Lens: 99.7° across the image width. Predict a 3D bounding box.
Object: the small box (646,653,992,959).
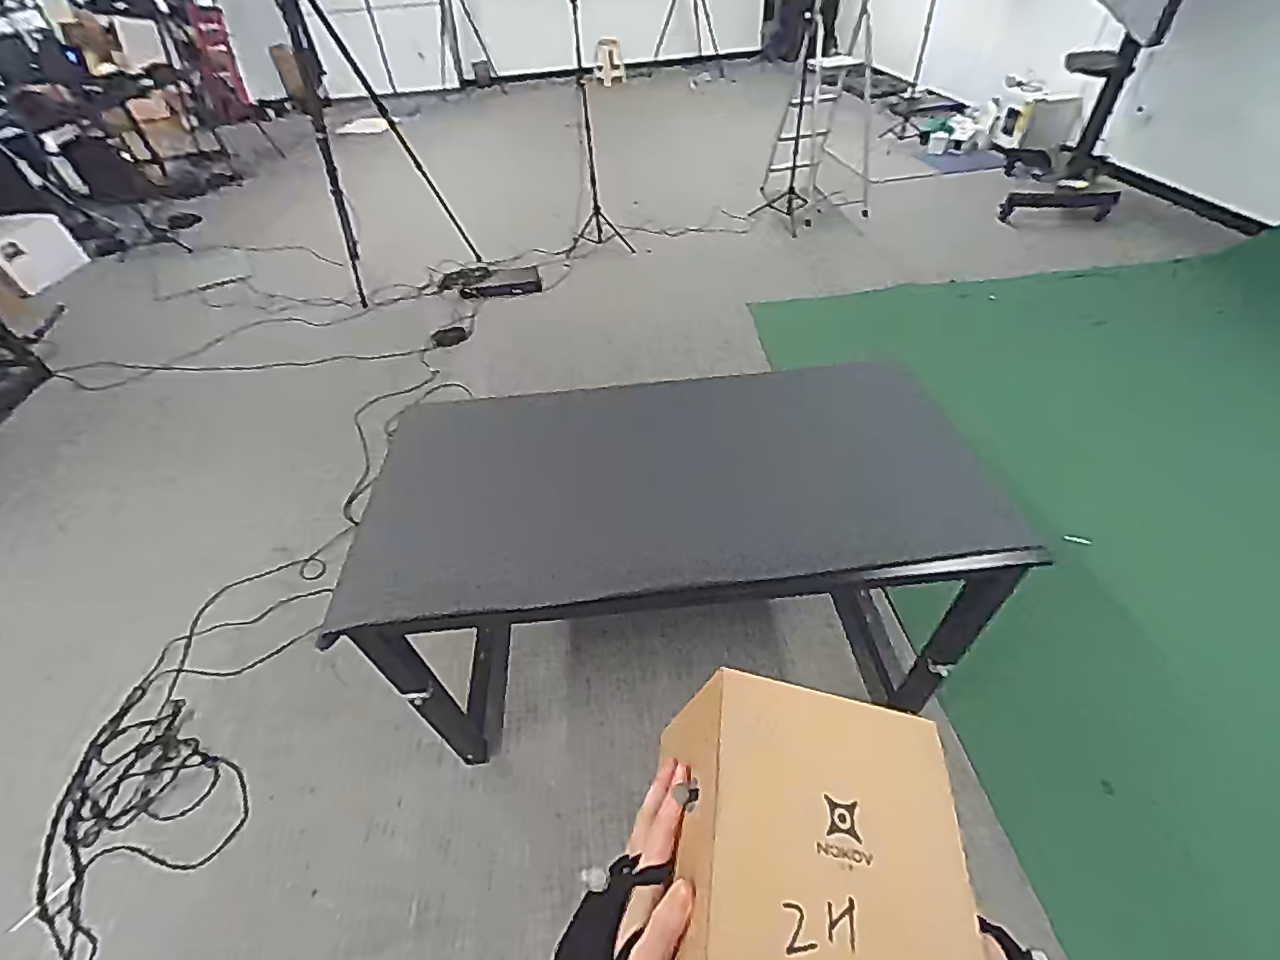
[{"bbox_3d":[0.108,0.258,0.393,0.168,0.176,0.179,15,48,-3],"label":"small box"}]
